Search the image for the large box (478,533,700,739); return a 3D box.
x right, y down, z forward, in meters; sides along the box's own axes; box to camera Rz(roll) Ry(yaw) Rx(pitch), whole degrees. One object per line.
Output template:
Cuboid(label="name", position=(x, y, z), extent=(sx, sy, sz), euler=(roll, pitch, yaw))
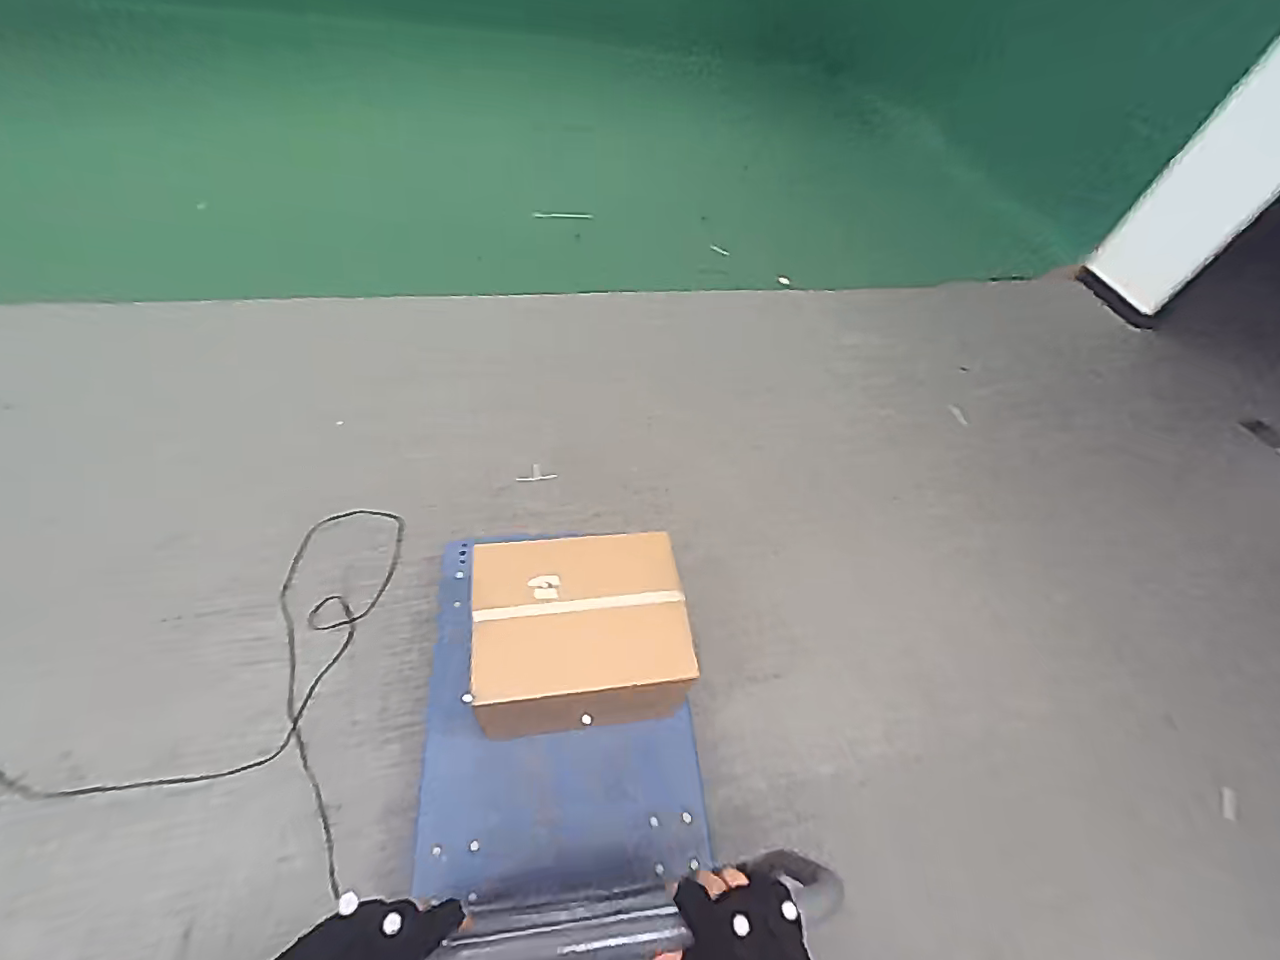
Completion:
Cuboid(label="large box", position=(-0.122, 0.336, 1.160), extent=(0.408, 0.320, 0.320), euler=(-3, 54, -11))
